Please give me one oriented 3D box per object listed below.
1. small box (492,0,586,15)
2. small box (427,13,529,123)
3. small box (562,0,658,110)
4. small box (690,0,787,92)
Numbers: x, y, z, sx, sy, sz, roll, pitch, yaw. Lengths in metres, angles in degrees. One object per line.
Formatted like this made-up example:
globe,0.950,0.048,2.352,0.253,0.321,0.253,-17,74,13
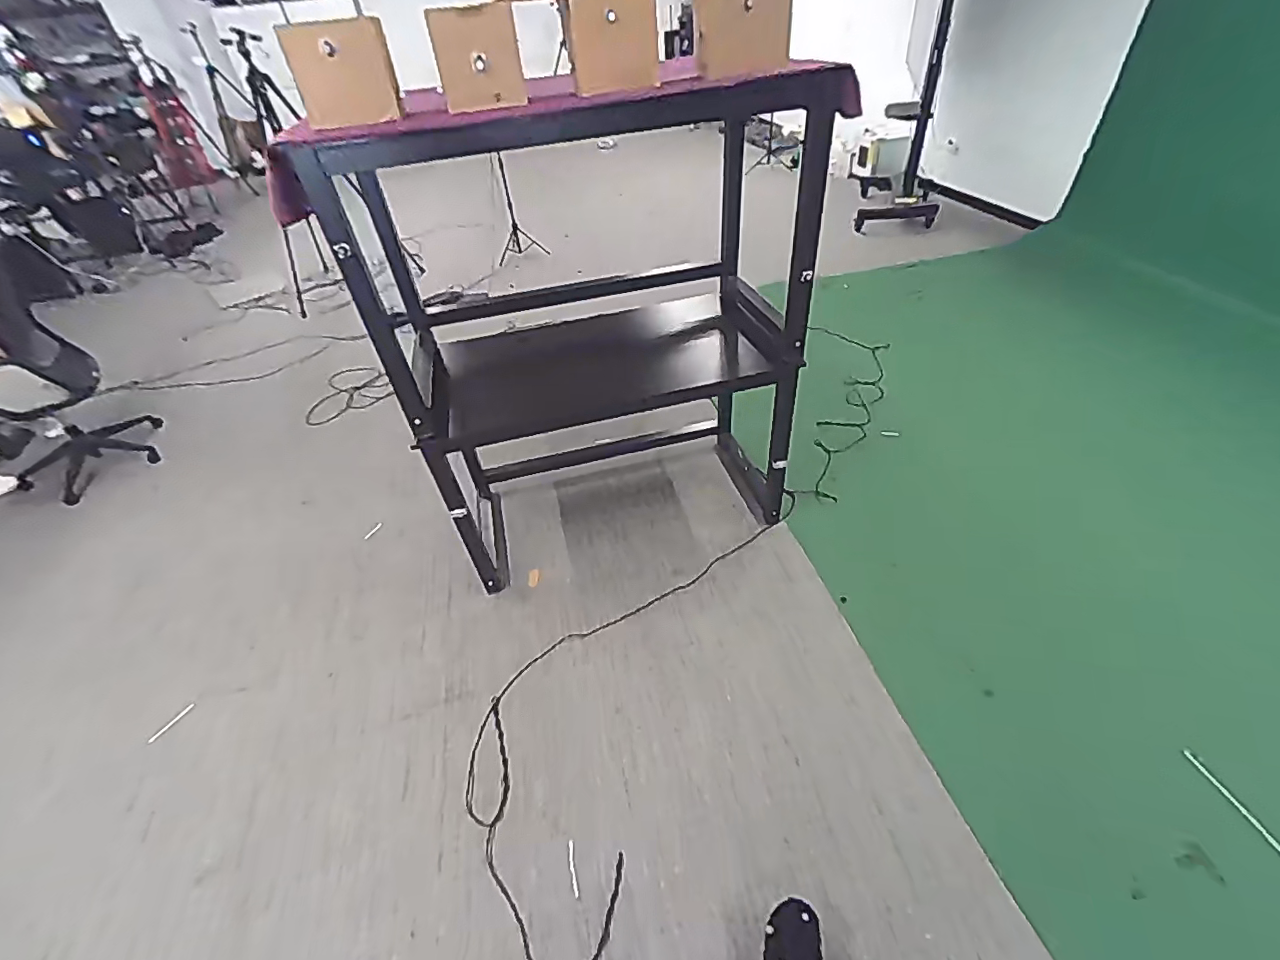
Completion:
small box,-0.214,-1.020,1.052,0.179,0.176,0.168,-13,41,-10
small box,-0.335,-0.864,1.137,0.168,0.176,0.179,-12,41,-8
small box,-0.062,-0.923,1.174,0.179,0.176,0.168,-13,41,-6
small box,0.217,-0.983,1.204,0.179,0.176,0.168,-10,43,-4
